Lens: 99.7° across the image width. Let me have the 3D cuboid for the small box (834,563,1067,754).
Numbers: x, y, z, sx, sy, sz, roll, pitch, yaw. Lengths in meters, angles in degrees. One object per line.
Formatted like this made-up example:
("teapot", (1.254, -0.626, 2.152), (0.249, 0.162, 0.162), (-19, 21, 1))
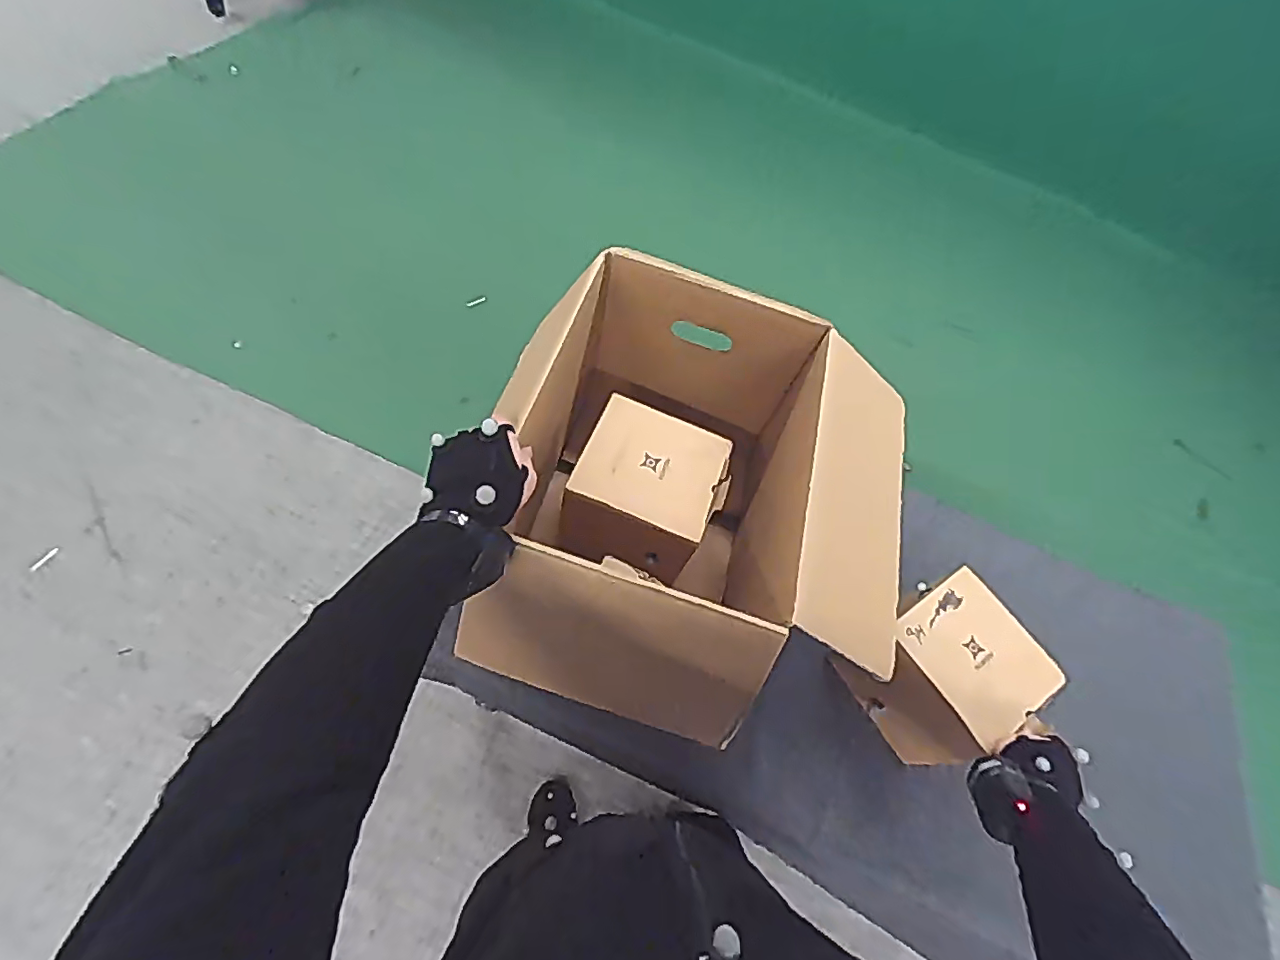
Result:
("small box", (0.407, 0.245, 0.739), (0.168, 0.176, 0.179), (-26, 71, -20))
